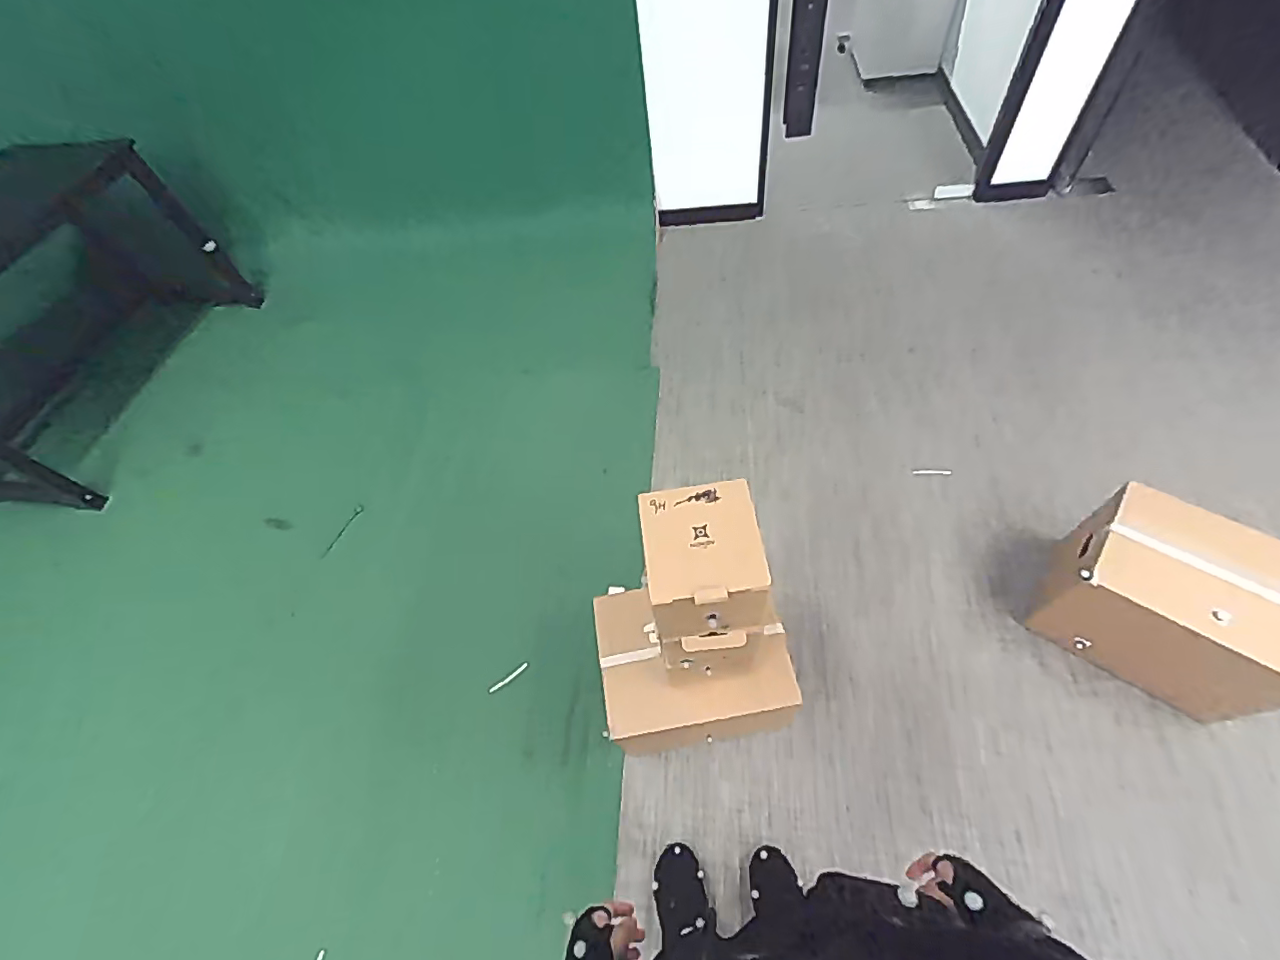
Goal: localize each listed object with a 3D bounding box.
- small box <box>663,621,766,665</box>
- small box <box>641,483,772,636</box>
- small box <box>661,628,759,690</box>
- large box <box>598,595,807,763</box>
[{"bbox_3d":[0.125,0.221,0.961,0.168,0.176,0.179,-8,57,4],"label":"small box"},{"bbox_3d":[0.099,0.129,0.827,0.168,0.176,0.179,-9,58,3],"label":"small box"},{"bbox_3d":[0.137,0.316,1.094,0.179,0.176,0.168,-9,57,3],"label":"small box"},{"bbox_3d":[0.143,0.458,1.295,0.408,0.320,0.320,-13,54,2],"label":"large box"}]
